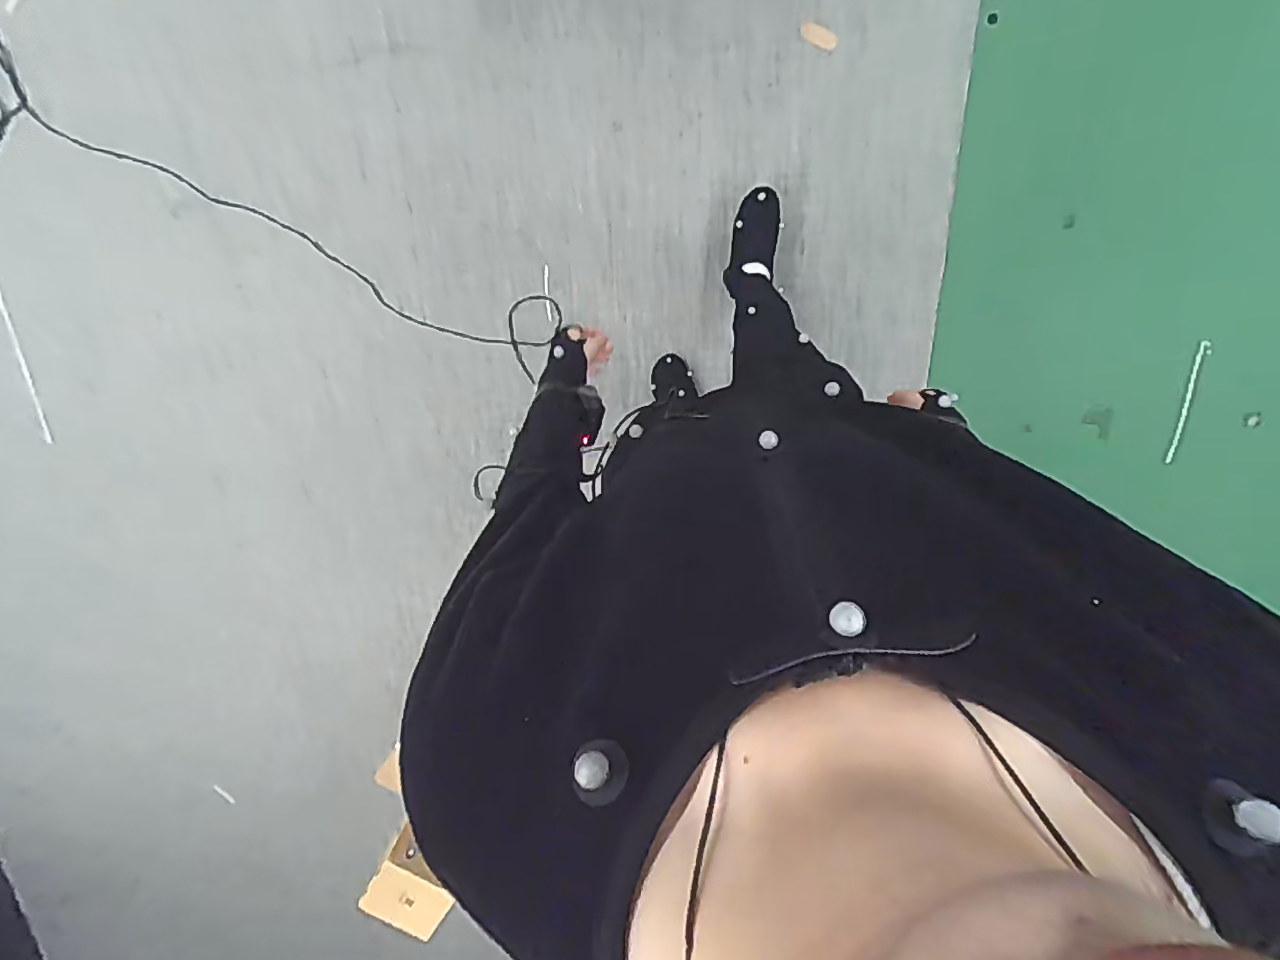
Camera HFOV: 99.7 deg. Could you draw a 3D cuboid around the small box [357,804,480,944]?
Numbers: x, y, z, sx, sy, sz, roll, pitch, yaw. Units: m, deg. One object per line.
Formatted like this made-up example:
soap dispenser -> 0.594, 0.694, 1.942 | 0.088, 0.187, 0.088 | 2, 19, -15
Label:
small box -> -0.494, 0.889, 1.234 | 0.179, 0.176, 0.168 | 32, 105, -4
